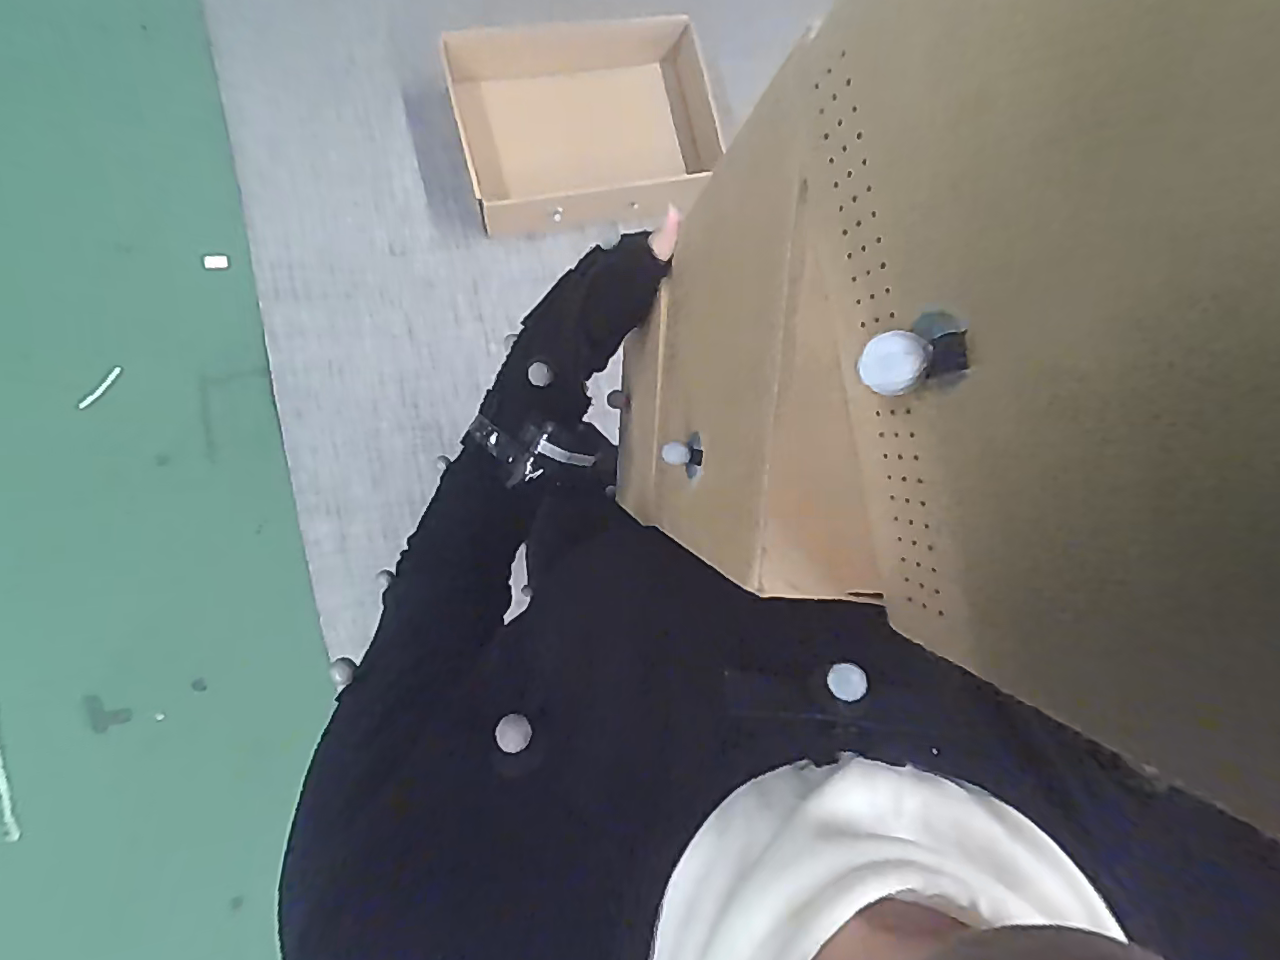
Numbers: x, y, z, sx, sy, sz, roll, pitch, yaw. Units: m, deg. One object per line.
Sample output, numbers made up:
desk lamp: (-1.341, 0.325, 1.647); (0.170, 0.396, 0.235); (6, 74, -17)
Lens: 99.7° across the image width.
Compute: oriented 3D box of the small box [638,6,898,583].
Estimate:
small box: (0.098, -0.056, 0.260); (0.168, 0.176, 0.179); (4, 93, -12)
